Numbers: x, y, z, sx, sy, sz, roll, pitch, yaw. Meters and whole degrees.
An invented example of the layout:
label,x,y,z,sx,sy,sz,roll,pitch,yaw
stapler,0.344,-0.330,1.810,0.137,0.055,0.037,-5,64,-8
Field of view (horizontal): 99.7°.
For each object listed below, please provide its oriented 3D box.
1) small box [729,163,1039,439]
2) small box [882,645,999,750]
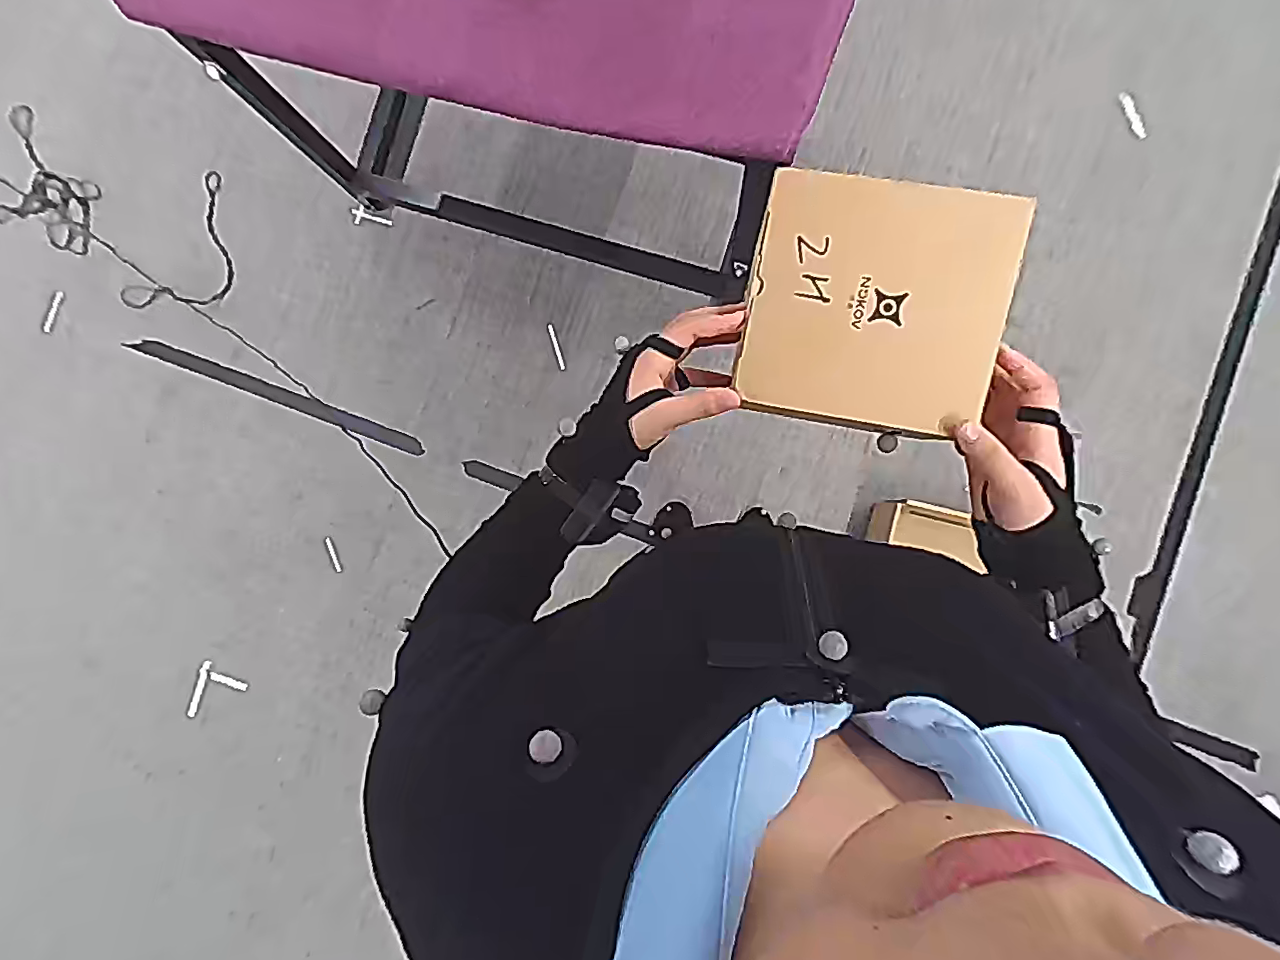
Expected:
label,x,y,z,sx,sy,sz,roll,pitch,yaw
small box,0.178,-0.133,0.457,0.179,0.176,0.168,12,97,7
small box,0.720,0.517,1.314,0.179,0.176,0.168,14,89,6
